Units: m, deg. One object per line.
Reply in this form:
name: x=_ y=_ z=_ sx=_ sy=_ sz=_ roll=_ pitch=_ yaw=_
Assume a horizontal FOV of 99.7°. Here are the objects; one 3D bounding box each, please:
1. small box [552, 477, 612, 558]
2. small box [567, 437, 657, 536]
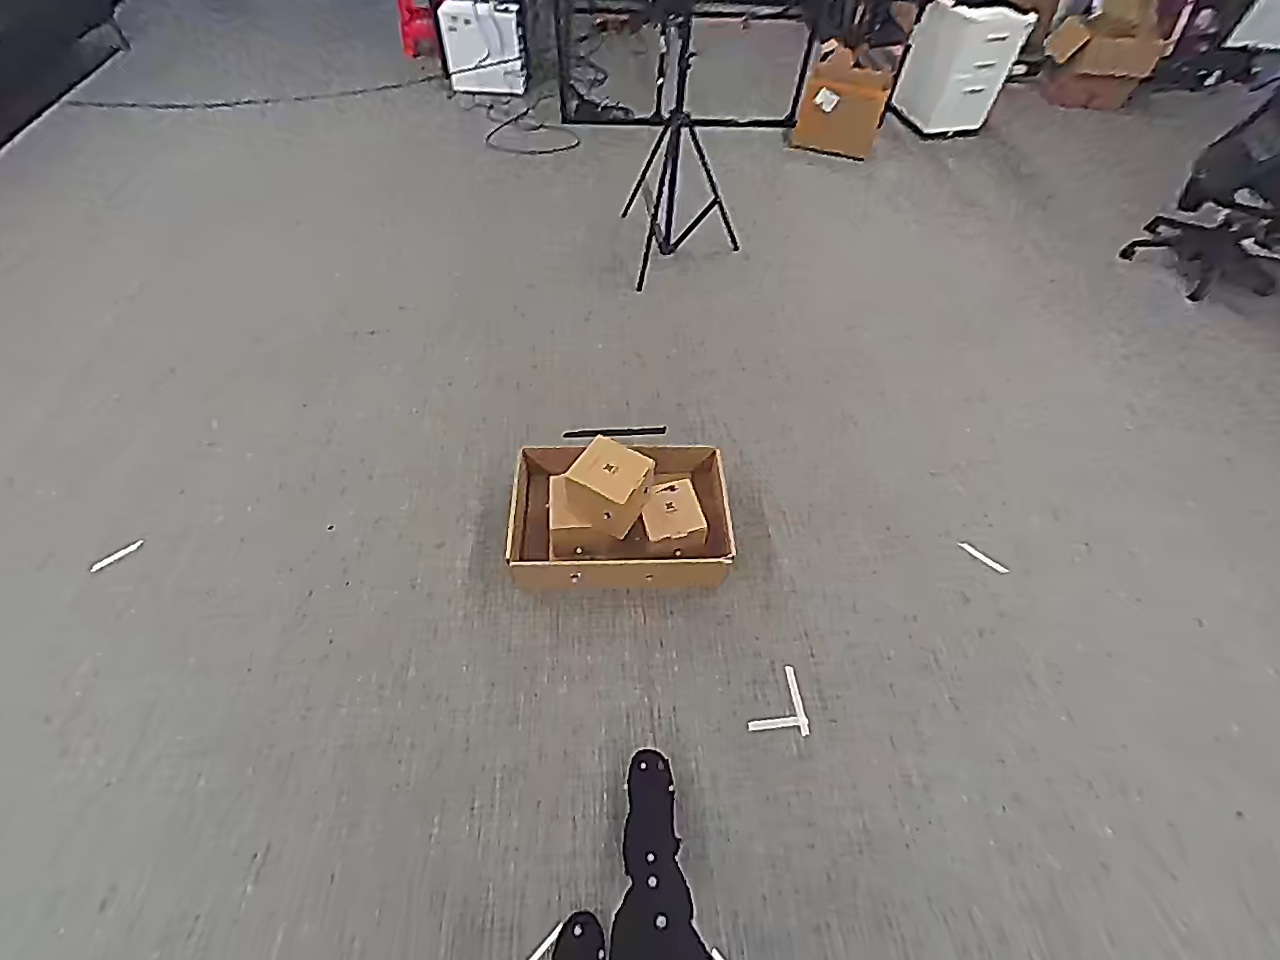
small box: x=-0.168 y=0.108 z=1.566 sx=0.168 sy=0.176 sz=0.179 roll=-2 pitch=55 yaw=-6
small box: x=-0.073 y=0.023 z=1.433 sx=0.179 sy=0.176 sz=0.168 roll=25 pitch=55 yaw=16
